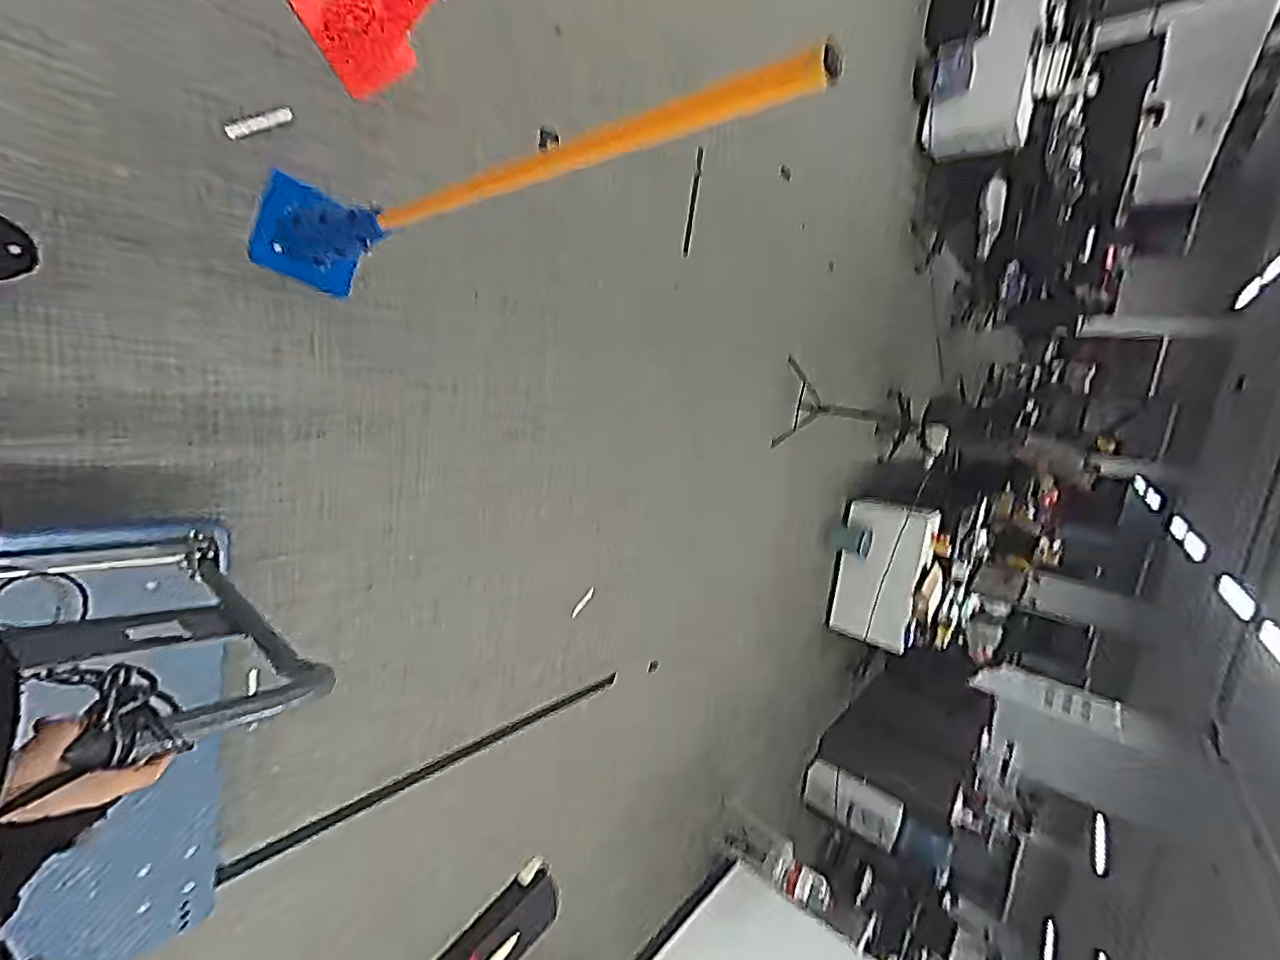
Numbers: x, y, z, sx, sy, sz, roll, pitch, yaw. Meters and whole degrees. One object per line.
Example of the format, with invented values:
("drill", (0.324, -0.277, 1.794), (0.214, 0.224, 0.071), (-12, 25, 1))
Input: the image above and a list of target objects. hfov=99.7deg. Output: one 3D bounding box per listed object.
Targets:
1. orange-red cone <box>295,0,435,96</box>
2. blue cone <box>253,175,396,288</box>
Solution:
("orange-red cone", (-0.473, -0.929, 1.050), (0.199, 0.360, 0.198), (-52, 135, -25))
("blue cone", (-0.589, -0.501, 1.067), (0.193, 0.380, 0.192), (20, 85, -51))
